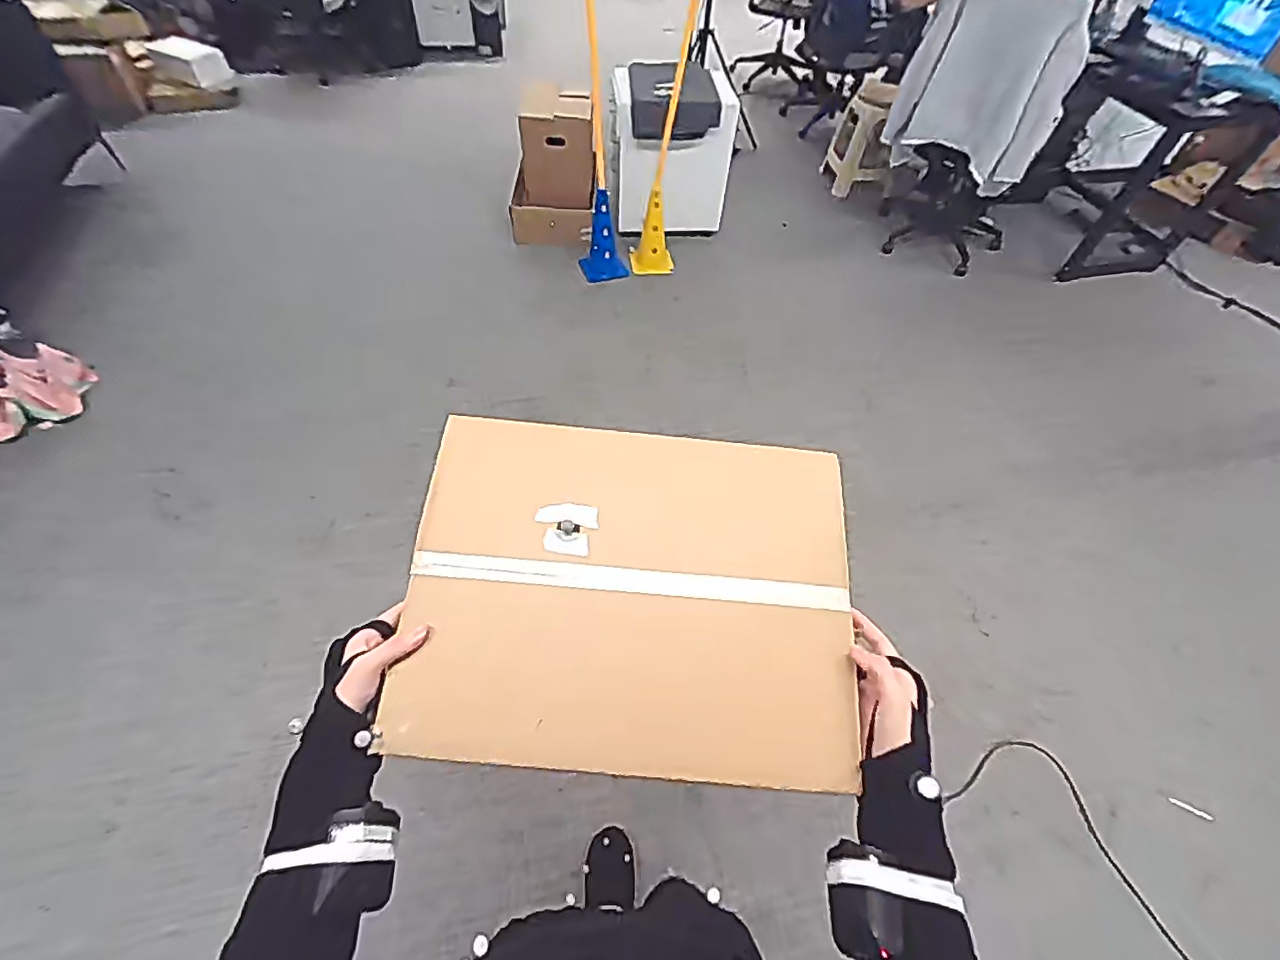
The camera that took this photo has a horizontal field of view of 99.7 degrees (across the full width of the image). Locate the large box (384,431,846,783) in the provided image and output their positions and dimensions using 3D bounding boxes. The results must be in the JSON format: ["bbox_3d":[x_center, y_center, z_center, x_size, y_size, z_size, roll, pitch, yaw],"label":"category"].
[{"bbox_3d":[-0.016,0.159,0.653,0.408,0.320,0.320,5,66,-1],"label":"large box"}]
